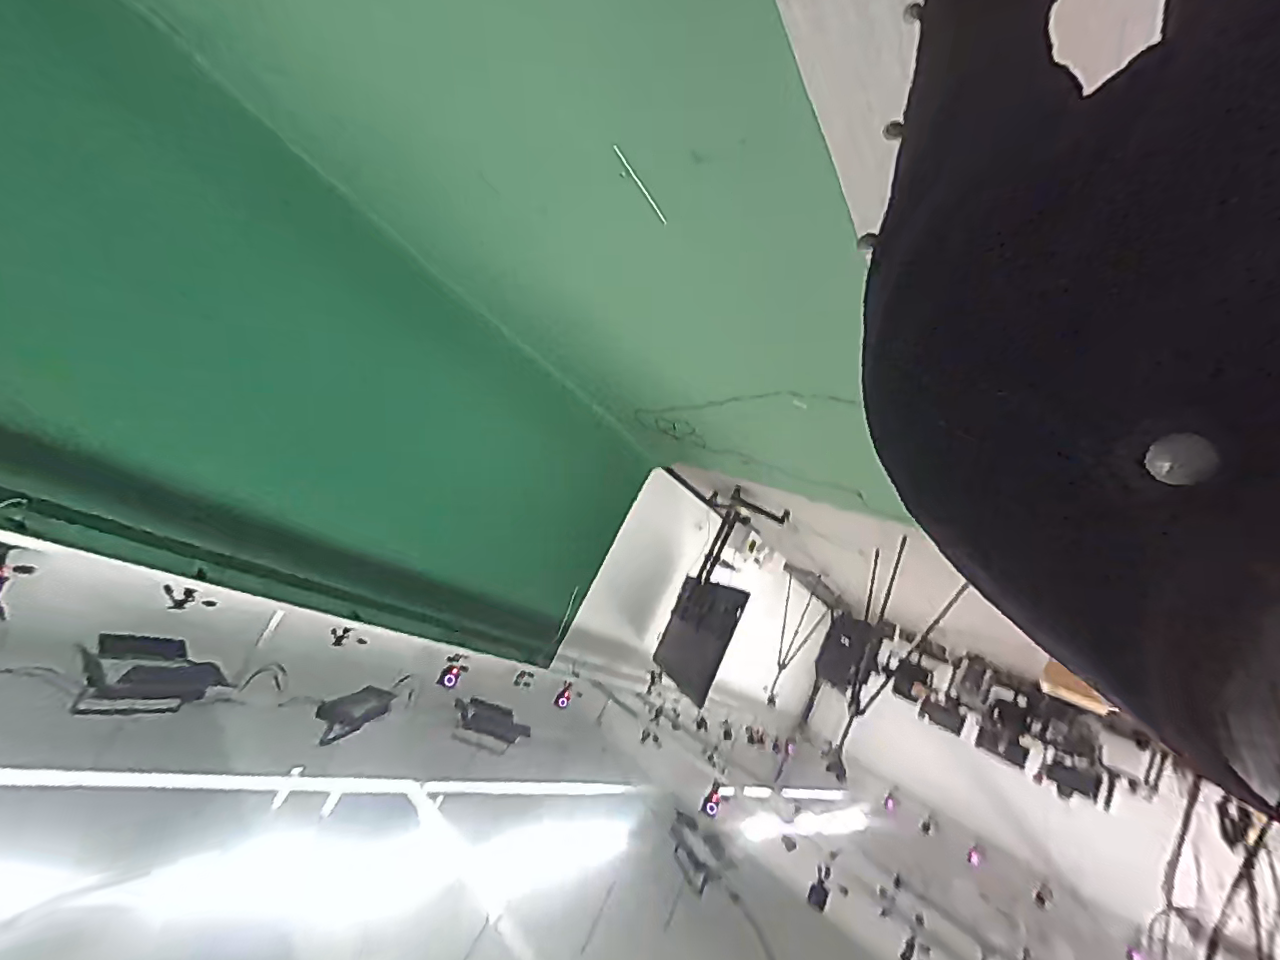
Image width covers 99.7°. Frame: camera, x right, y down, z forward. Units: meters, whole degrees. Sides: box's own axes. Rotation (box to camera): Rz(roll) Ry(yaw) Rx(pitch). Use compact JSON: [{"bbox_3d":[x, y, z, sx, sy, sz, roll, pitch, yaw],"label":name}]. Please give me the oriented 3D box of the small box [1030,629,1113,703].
[{"bbox_3d":[1.425,0.609,1.791,0.179,0.176,0.168,17,167,42],"label":"small box"}]
